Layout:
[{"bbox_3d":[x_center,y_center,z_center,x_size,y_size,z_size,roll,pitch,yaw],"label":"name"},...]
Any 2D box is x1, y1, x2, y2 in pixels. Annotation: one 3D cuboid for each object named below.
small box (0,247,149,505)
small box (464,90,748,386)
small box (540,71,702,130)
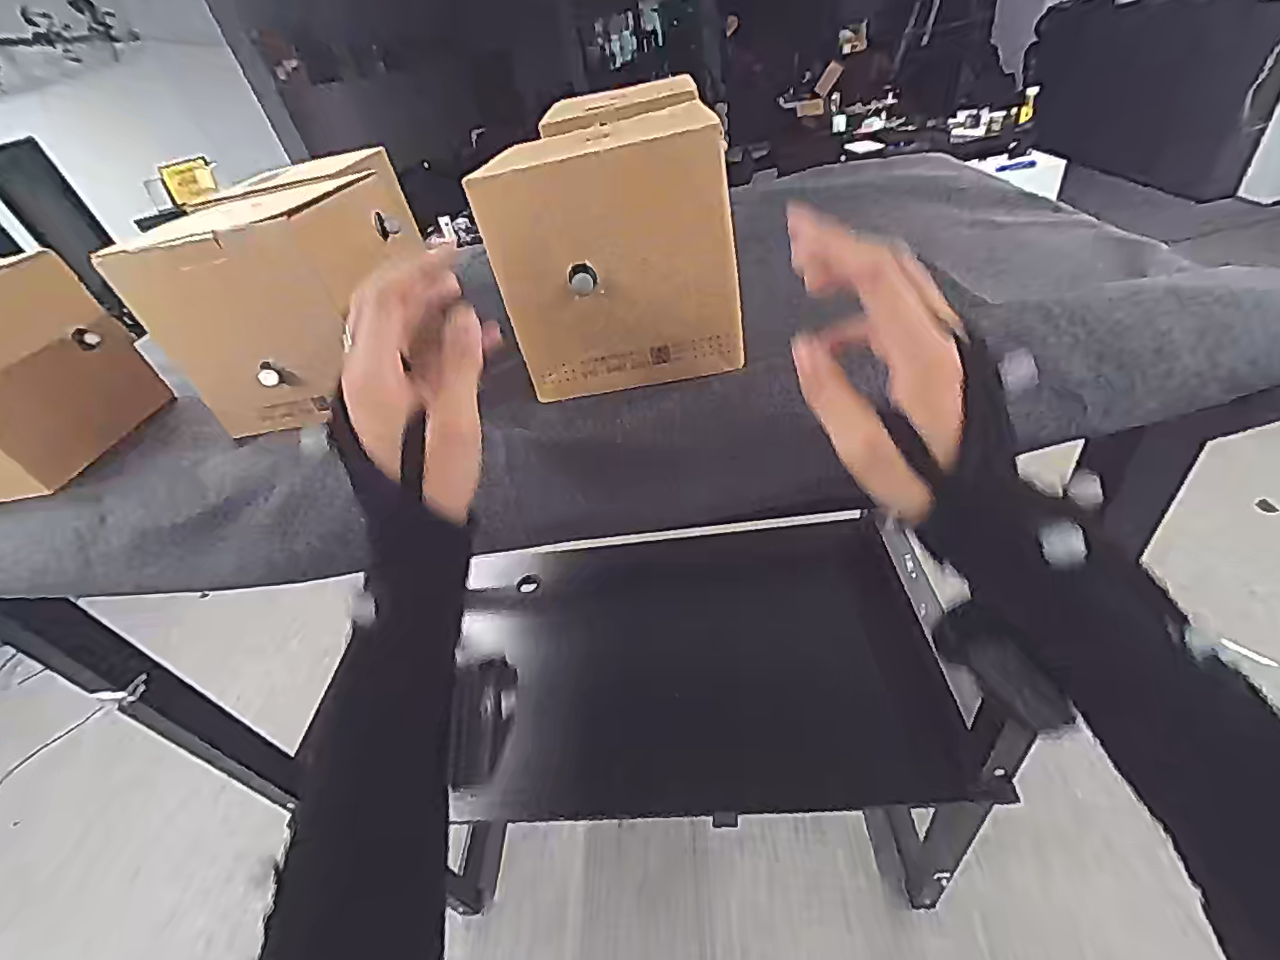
[{"bbox_3d":[-0.614,-0.088,0.490,0.168,0.176,0.179,-9,39,6],"label":"small box"},{"bbox_3d":[-0.012,-0.186,0.430,0.168,0.176,0.179,-9,37,7],"label":"small box"},{"bbox_3d":[-0.005,-0.364,0.643,0.168,0.176,0.179,-8,39,7],"label":"small box"}]
